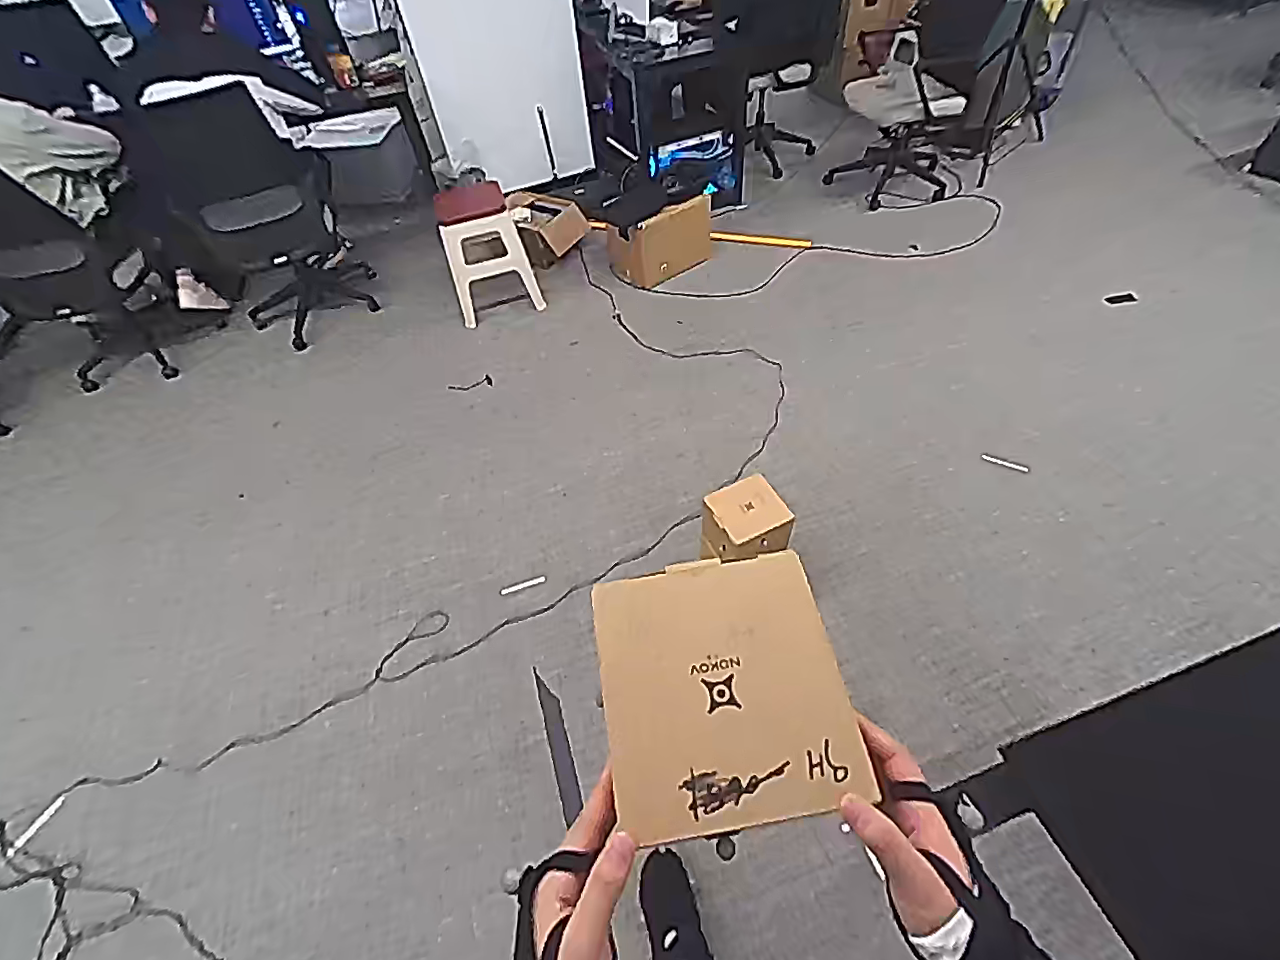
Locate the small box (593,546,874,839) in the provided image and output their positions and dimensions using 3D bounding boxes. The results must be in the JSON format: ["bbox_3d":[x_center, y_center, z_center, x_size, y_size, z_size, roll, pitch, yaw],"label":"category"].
[{"bbox_3d":[0.058,0.179,0.444,0.168,0.176,0.179,-10,56,-1],"label":"small box"}]

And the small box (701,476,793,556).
[{"bbox_3d":[0.277,0.126,1.433,0.179,0.176,0.168,-23,54,-13],"label":"small box"}]
